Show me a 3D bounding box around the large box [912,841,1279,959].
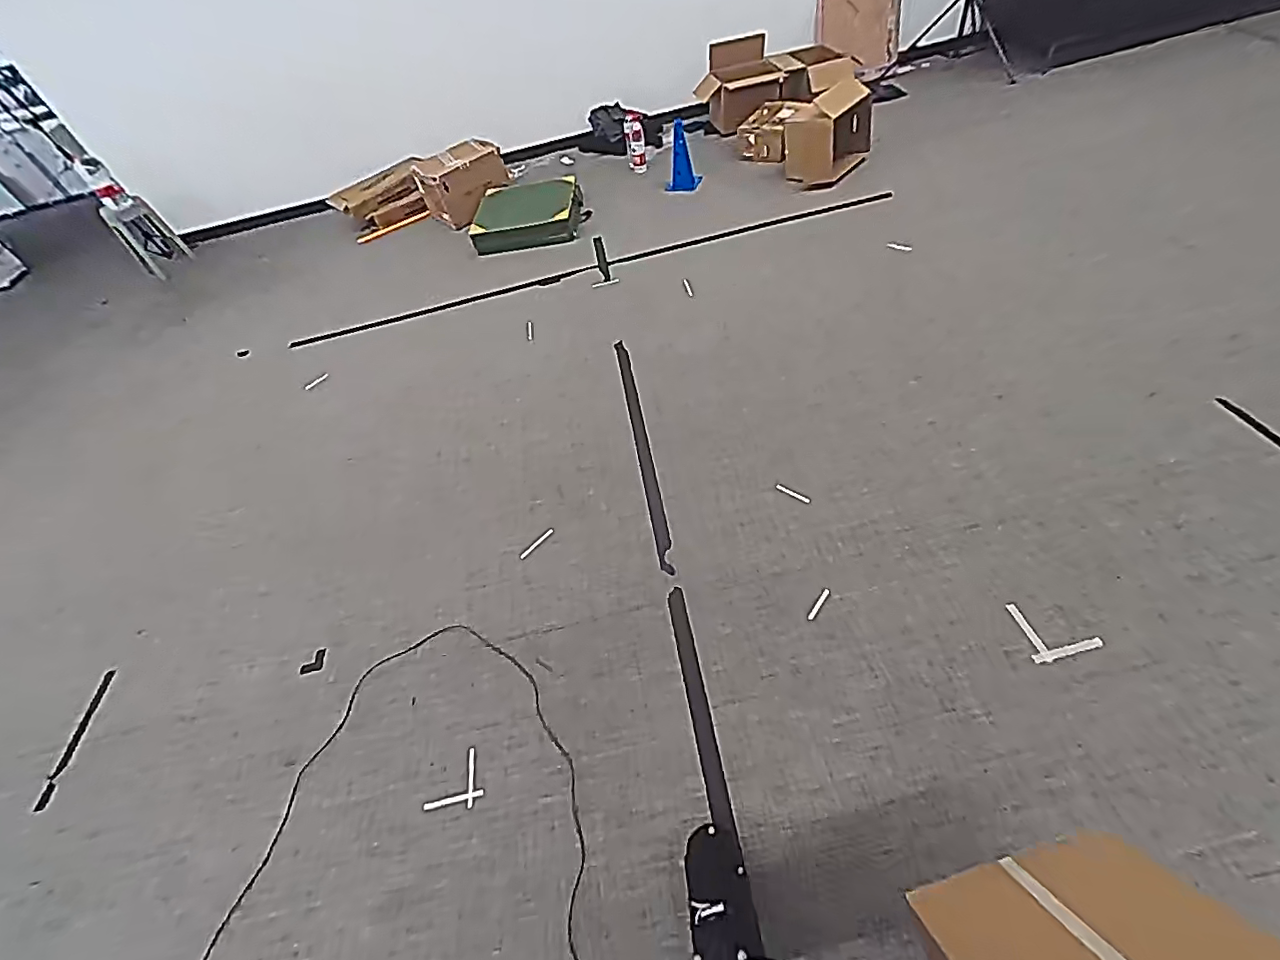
[{"bbox_3d":[0.576,0.689,0.573,0.320,0.408,0.320,-18,84,-1],"label":"large box"}]
